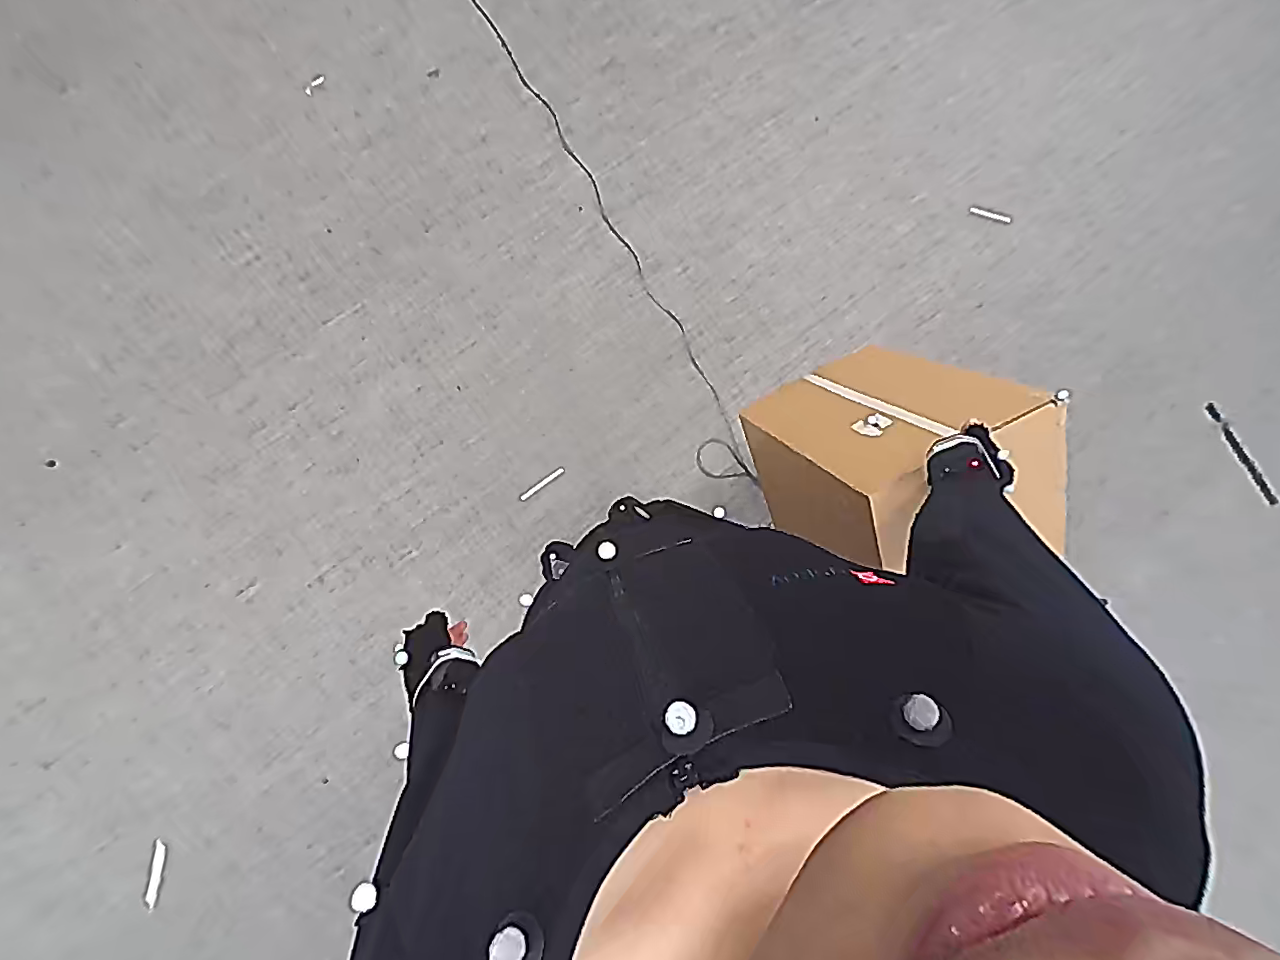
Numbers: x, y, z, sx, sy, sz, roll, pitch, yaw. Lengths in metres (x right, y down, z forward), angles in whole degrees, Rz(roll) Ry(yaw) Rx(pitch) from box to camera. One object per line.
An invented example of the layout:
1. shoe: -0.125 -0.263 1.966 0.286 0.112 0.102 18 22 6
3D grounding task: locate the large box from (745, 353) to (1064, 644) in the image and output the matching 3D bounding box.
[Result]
1. large box: 0.446 0.006 0.977 0.320 0.408 0.320 -27 119 -5
